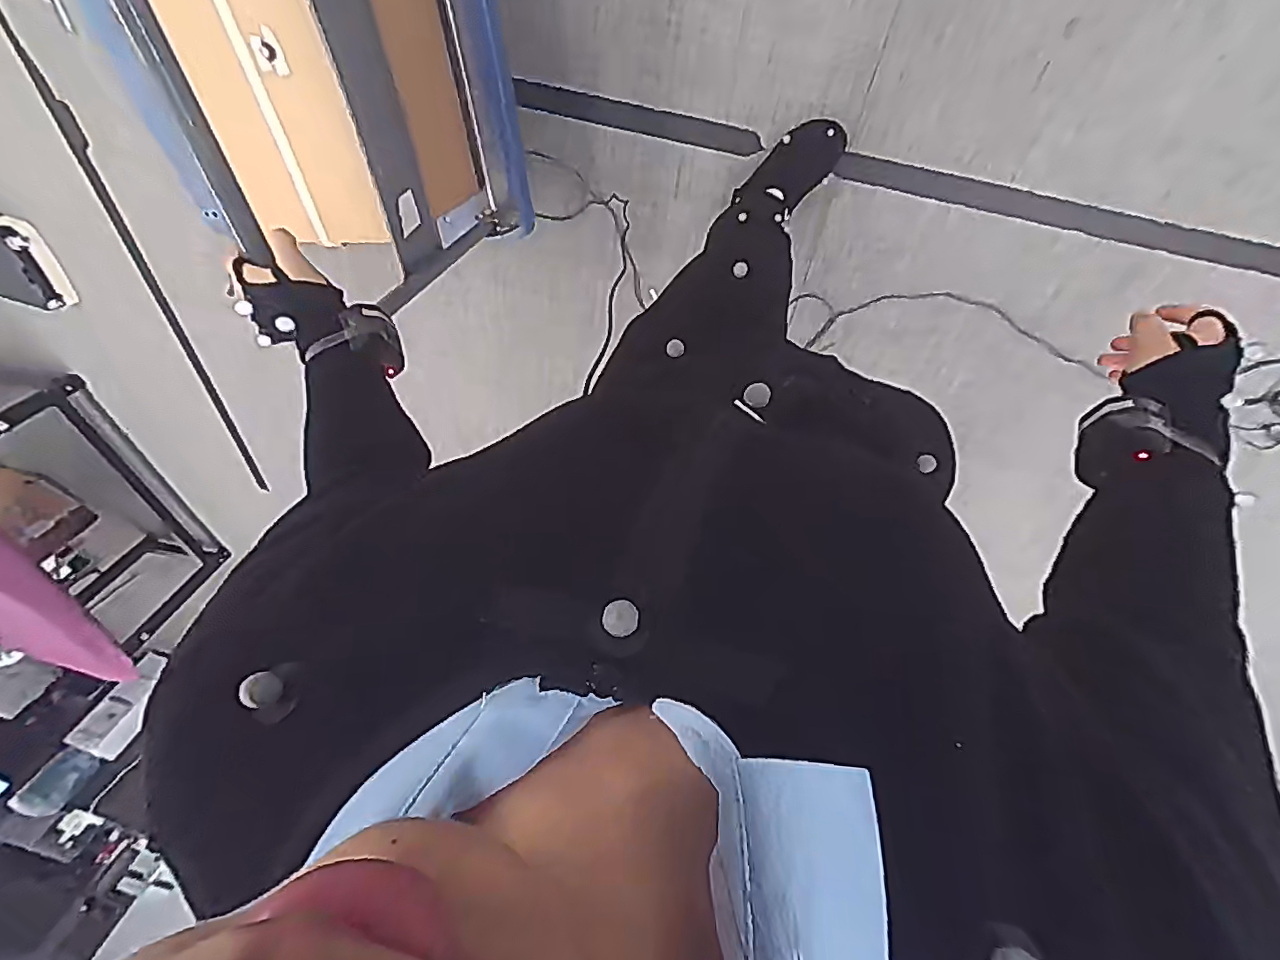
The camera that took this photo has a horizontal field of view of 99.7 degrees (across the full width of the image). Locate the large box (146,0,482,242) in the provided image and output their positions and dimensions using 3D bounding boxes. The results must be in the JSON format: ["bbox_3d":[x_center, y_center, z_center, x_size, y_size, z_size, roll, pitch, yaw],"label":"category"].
[{"bbox_3d":[-0.527,-0.674,0.953,0.320,0.320,0.408,6,132,12],"label":"large box"}]
